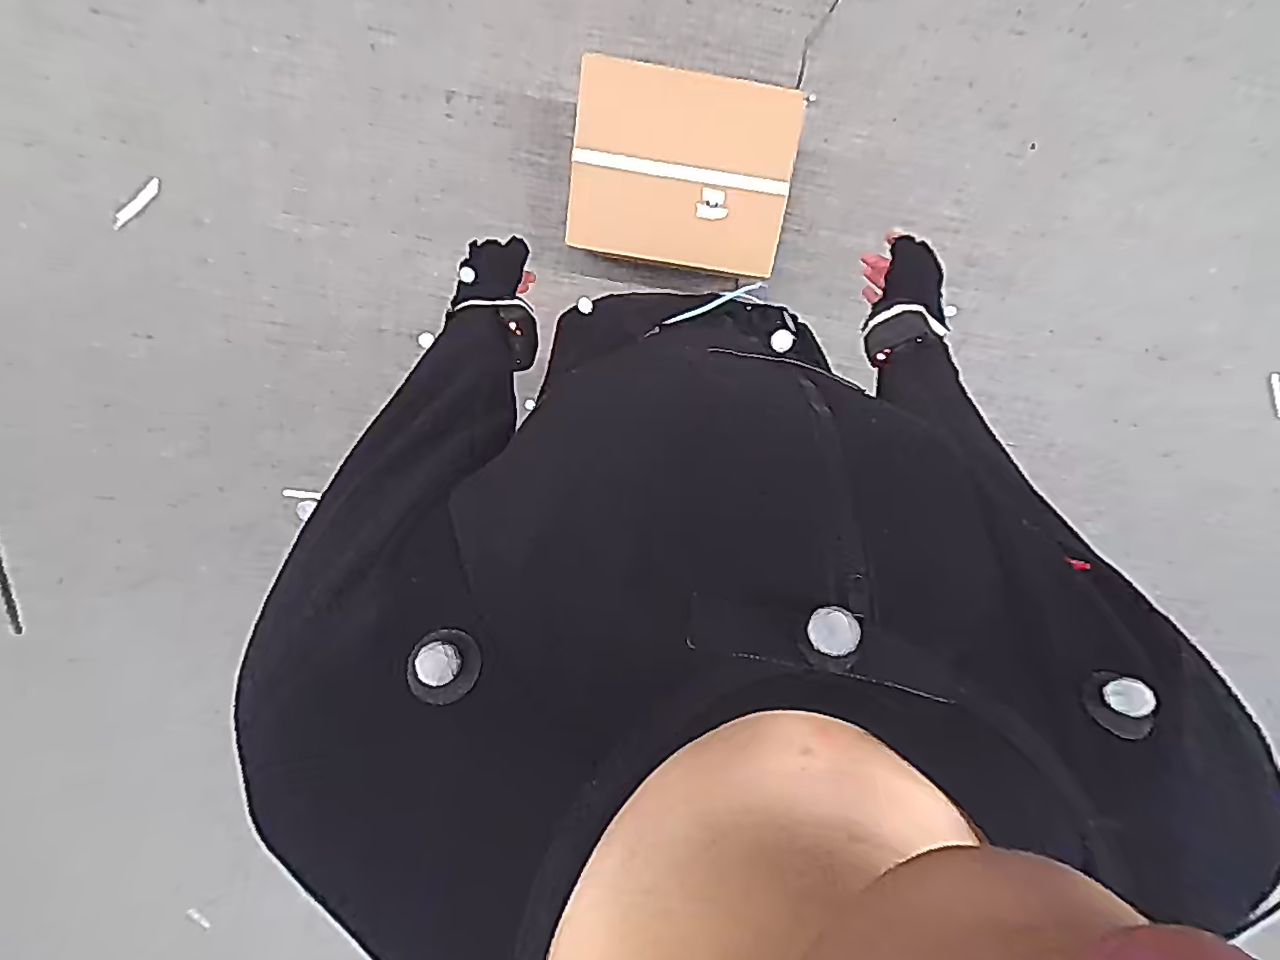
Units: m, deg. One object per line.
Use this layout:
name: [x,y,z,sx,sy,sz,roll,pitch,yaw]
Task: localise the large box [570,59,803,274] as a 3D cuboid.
large box: [0.076,-0.628,1.150,0.408,0.320,0.320,8,111,-3]
